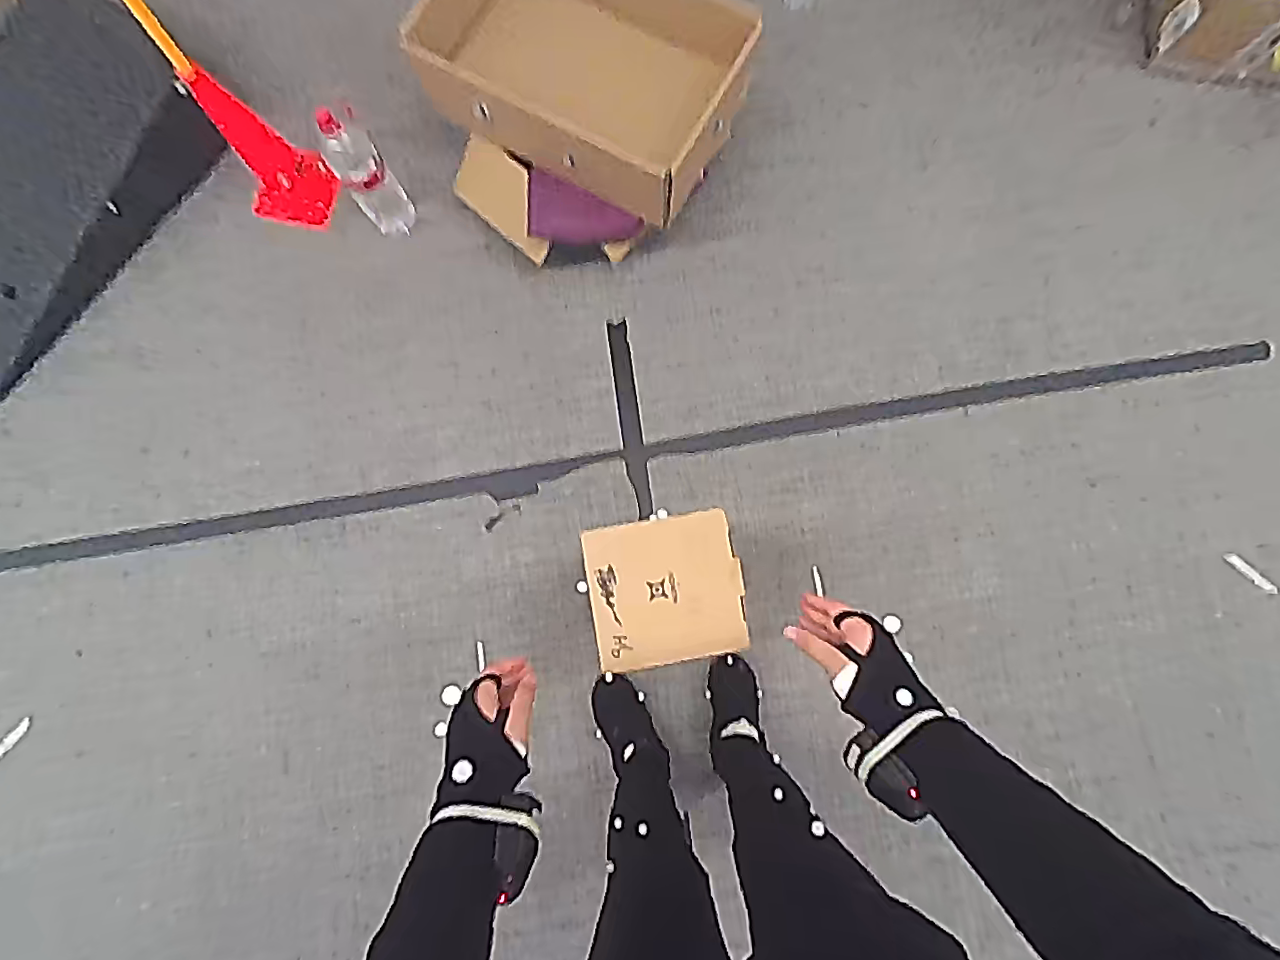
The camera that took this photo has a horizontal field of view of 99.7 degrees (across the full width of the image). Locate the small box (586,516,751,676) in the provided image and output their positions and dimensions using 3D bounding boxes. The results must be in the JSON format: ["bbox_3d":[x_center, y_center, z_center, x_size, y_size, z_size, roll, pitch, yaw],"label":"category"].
[{"bbox_3d":[0.029,0.142,0.707,0.179,0.176,0.168,-9,83,-3],"label":"small box"}]
